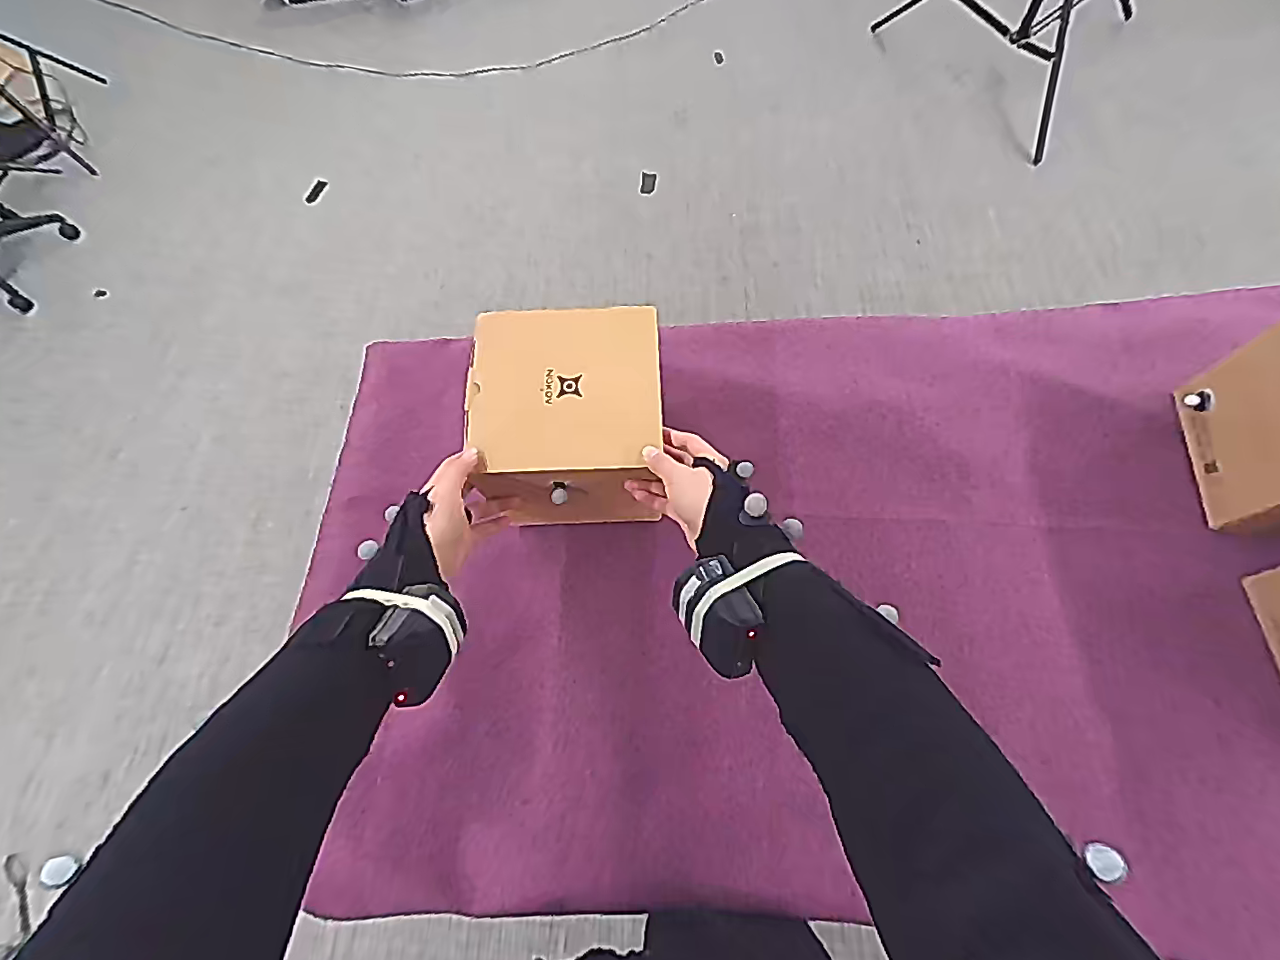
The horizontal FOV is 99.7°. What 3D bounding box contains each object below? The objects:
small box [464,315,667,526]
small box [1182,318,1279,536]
[{"bbox_3d":[-0.065,-0.052,0.565,0.179,0.176,0.168,-2,70,1],"label":"small box"},{"bbox_3d":[0.656,-0.046,0.491,0.179,0.176,0.168,5,68,8],"label":"small box"}]
